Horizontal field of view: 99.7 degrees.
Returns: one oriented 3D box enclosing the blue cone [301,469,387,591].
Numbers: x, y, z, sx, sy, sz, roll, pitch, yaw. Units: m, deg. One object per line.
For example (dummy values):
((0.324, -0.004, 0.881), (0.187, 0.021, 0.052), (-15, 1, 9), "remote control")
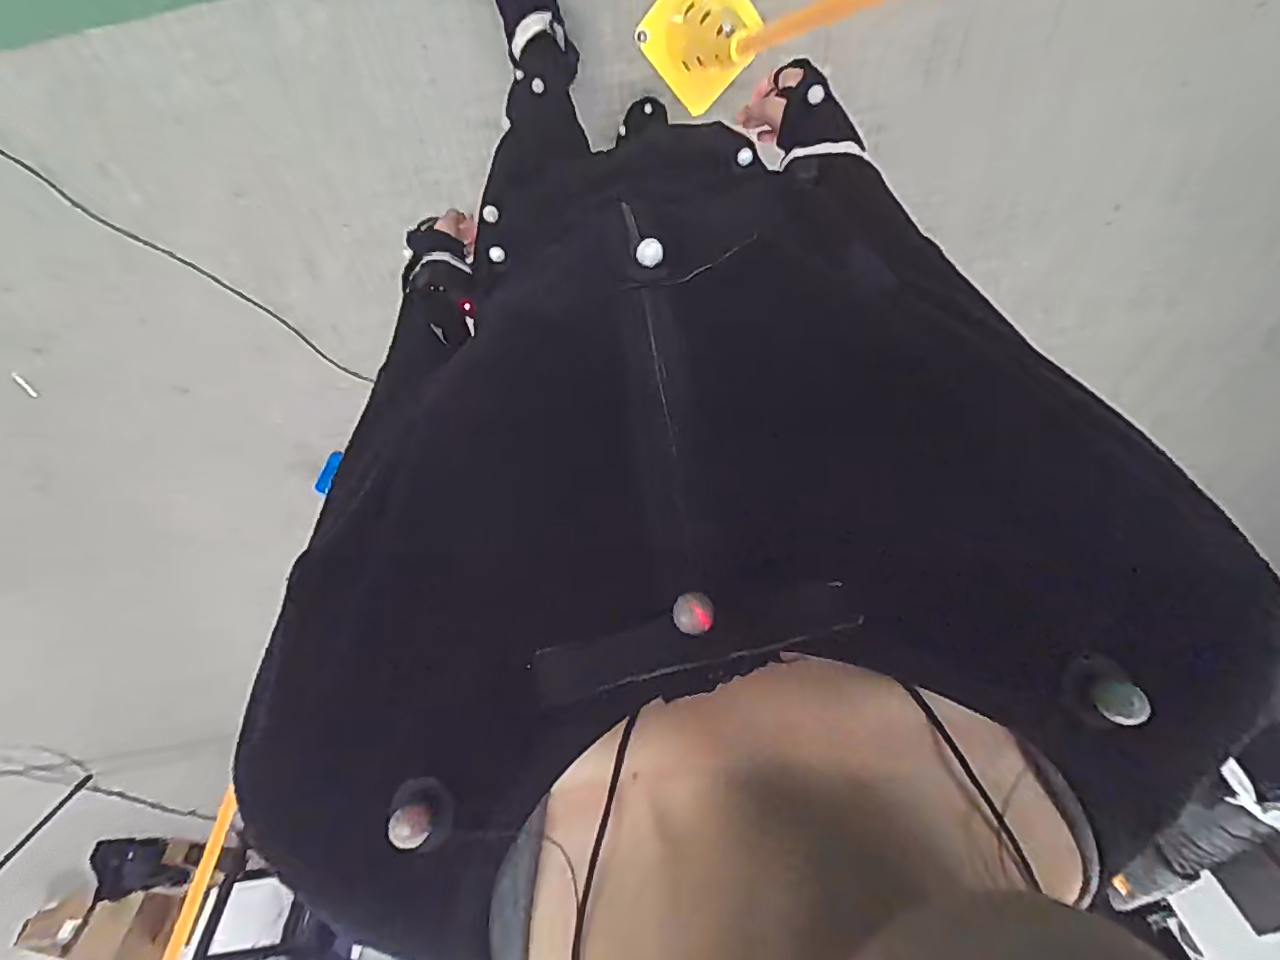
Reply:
((-0.910, 0.166, 1.610), (0.192, 0.380, 0.193), (26, 126, -27), "blue cone")
